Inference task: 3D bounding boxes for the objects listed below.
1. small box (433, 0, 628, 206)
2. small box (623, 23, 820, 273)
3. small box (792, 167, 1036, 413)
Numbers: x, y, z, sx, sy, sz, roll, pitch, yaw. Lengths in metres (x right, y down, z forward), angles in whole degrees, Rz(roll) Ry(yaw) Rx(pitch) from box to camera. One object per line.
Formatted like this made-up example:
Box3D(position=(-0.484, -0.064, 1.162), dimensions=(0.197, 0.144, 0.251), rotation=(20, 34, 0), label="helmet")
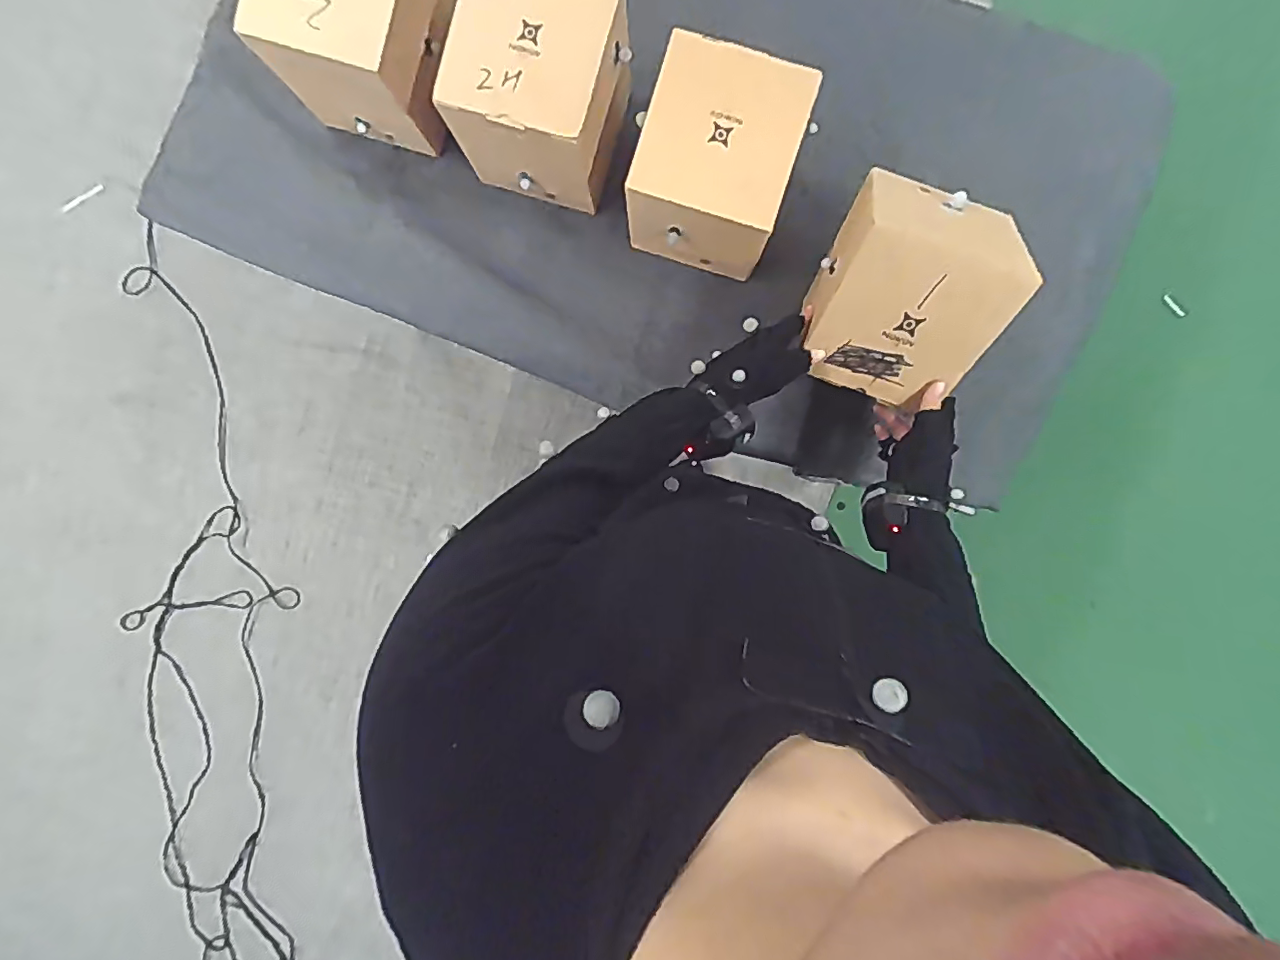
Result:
Box3D(position=(-0.115, -0.468, 0.645), dimensions=(0.168, 0.176, 0.179), rotation=(17, 93, 1), label="small box")
Box3D(position=(0.088, -0.373, 0.645), dimensions=(0.168, 0.176, 0.179), rotation=(18, 92, 1), label="small box")
Box3D(position=(0.291, -0.213, 0.607), dimensions=(0.168, 0.176, 0.179), rotation=(21, 138, 1), label="small box")
